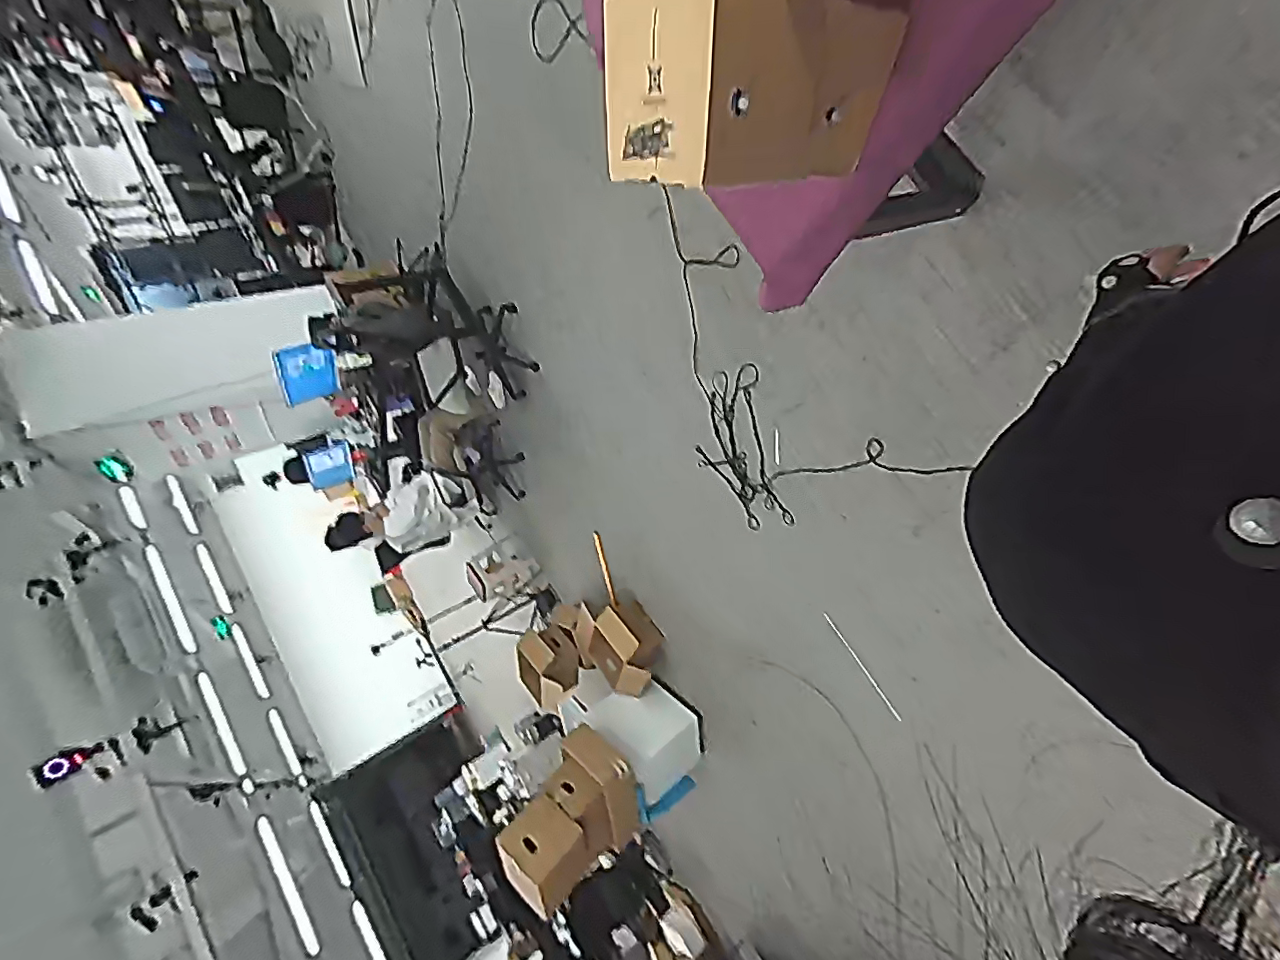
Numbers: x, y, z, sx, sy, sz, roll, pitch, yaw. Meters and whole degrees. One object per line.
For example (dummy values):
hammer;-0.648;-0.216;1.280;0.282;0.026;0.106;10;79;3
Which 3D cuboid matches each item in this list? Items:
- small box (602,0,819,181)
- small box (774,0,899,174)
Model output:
small box;0.075;-0.443;0.602;0.168;0.176;0.179;33;135;40
small box;0.194;-0.516;0.691;0.168;0.176;0.179;42;142;31
